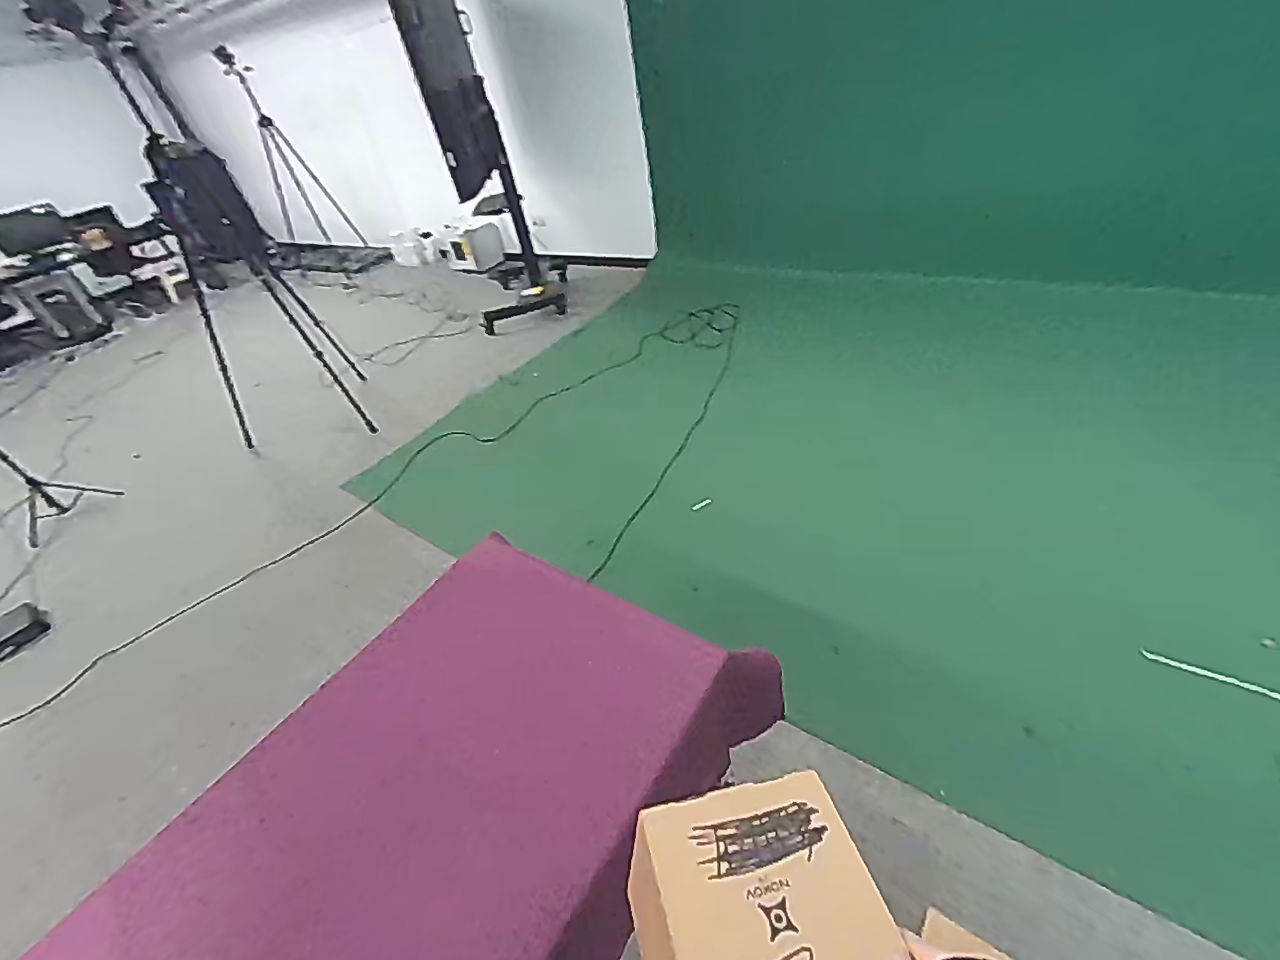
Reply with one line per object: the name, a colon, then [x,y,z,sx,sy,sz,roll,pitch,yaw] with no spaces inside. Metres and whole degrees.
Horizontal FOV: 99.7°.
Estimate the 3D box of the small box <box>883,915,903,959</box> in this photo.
small box: [0.531,0.962,0.996,0.168,0.176,0.179,22,50,34]
